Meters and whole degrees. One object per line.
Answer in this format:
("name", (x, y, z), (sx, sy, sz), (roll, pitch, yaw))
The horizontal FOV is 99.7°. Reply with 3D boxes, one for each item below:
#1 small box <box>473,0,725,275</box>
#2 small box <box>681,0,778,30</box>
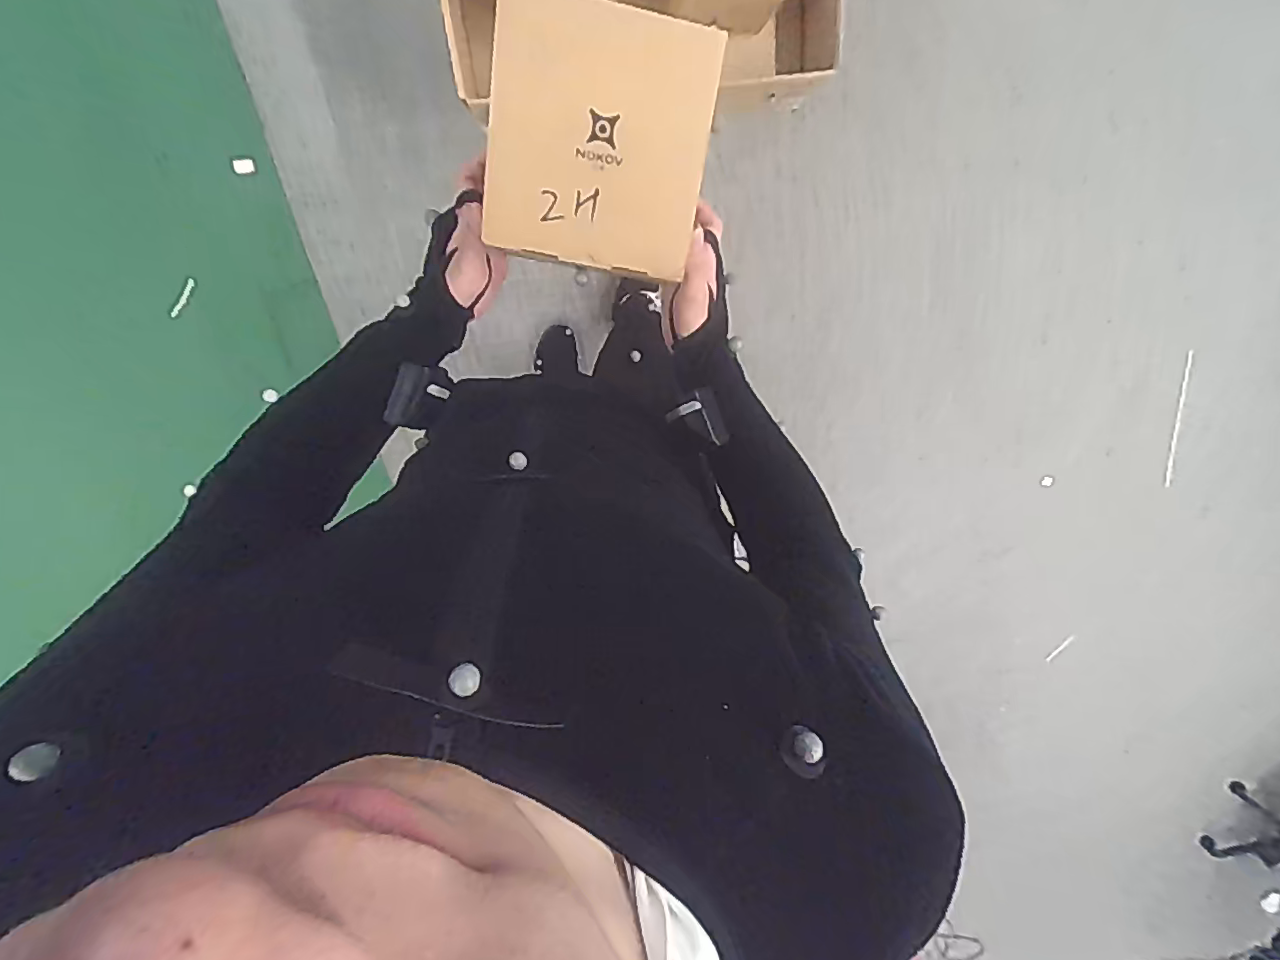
("small box", (-0.041, -0.285, 0.470), (0.168, 0.176, 0.179), (7, 108, -8))
("small box", (0.130, -0.832, 0.831), (0.168, 0.176, 0.179), (-6, 113, -3))
